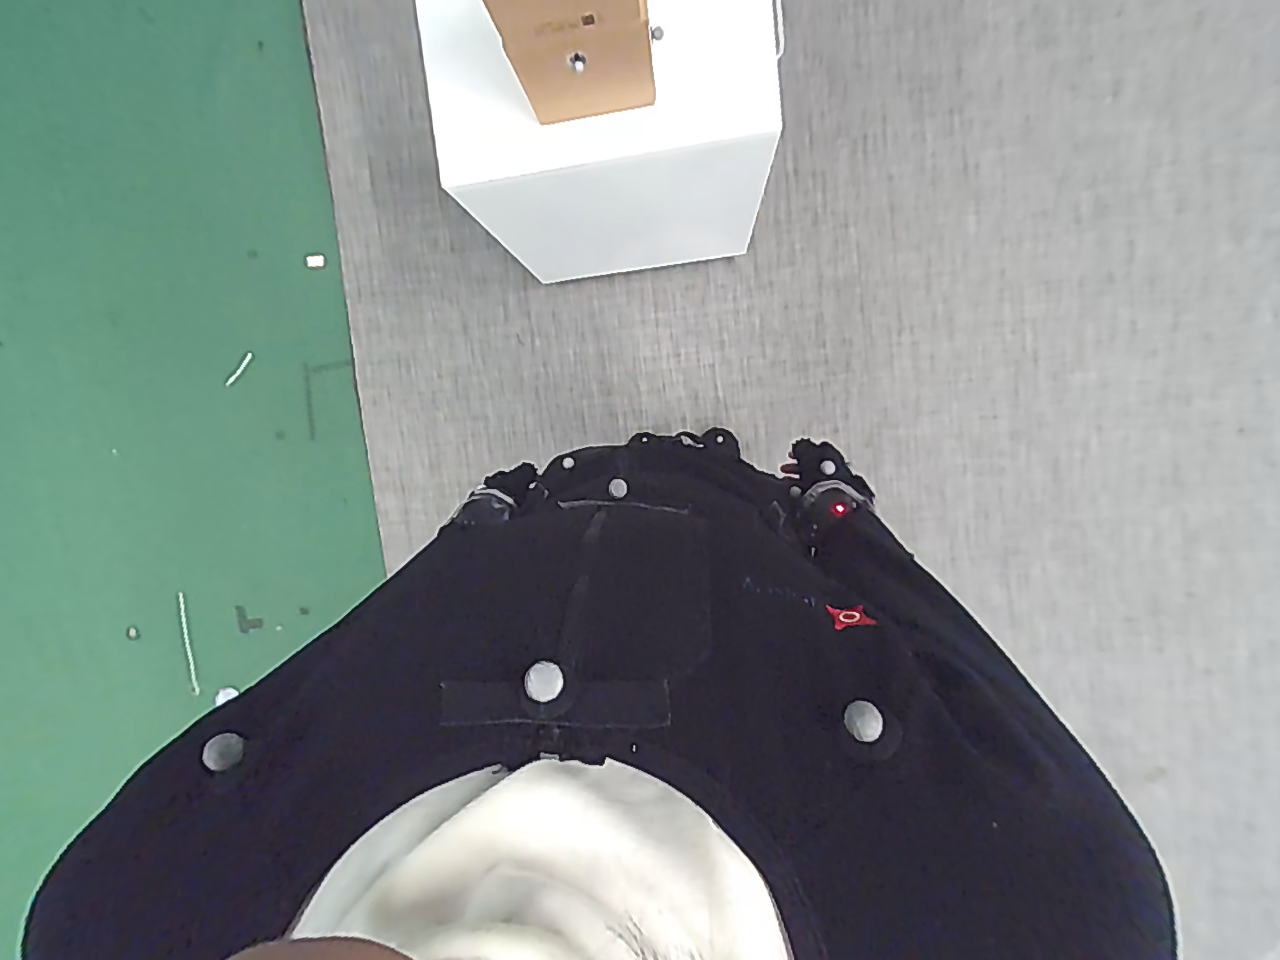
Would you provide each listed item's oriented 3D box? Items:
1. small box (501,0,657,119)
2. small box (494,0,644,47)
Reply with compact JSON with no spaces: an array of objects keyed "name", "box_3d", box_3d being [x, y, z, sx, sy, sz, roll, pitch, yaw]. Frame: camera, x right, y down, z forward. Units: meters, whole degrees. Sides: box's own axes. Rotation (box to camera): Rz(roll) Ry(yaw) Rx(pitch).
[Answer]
[{"name":"small box","box_3d":[-0.076,-0.607,0.704,0.179,0.176,0.168,-6,95,5]},{"name":"small box","box_3d":[-0.090,-0.595,0.544,0.168,0.176,0.179,-7,95,5]}]
